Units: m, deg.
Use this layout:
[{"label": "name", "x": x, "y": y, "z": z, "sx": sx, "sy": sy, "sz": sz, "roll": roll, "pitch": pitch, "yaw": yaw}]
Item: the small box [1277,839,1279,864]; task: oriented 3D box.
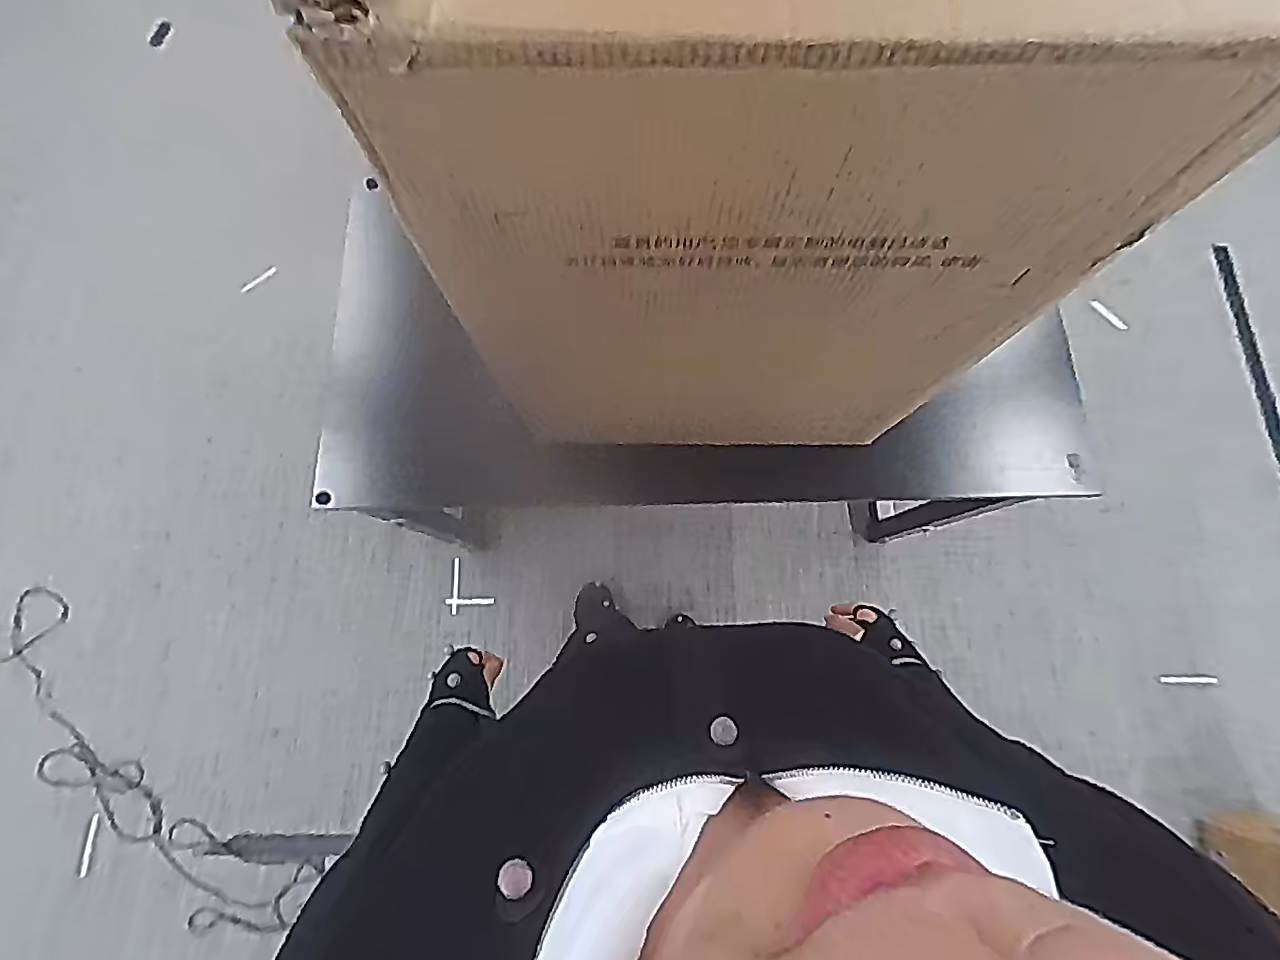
[{"label": "small box", "x": 1.500, "y": 0.865, "z": 1.117, "sx": 0.168, "sy": 0.176, "sz": 0.179, "roll": -1, "pitch": 77, "yaw": 0}]

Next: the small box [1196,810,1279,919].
[{"label": "small box", "x": 1.500, "y": 0.903, "z": 1.277, "sx": 0.179, "sy": 0.176, "sz": 0.168, "roll": -6, "pitch": 76, "yaw": 0}]
